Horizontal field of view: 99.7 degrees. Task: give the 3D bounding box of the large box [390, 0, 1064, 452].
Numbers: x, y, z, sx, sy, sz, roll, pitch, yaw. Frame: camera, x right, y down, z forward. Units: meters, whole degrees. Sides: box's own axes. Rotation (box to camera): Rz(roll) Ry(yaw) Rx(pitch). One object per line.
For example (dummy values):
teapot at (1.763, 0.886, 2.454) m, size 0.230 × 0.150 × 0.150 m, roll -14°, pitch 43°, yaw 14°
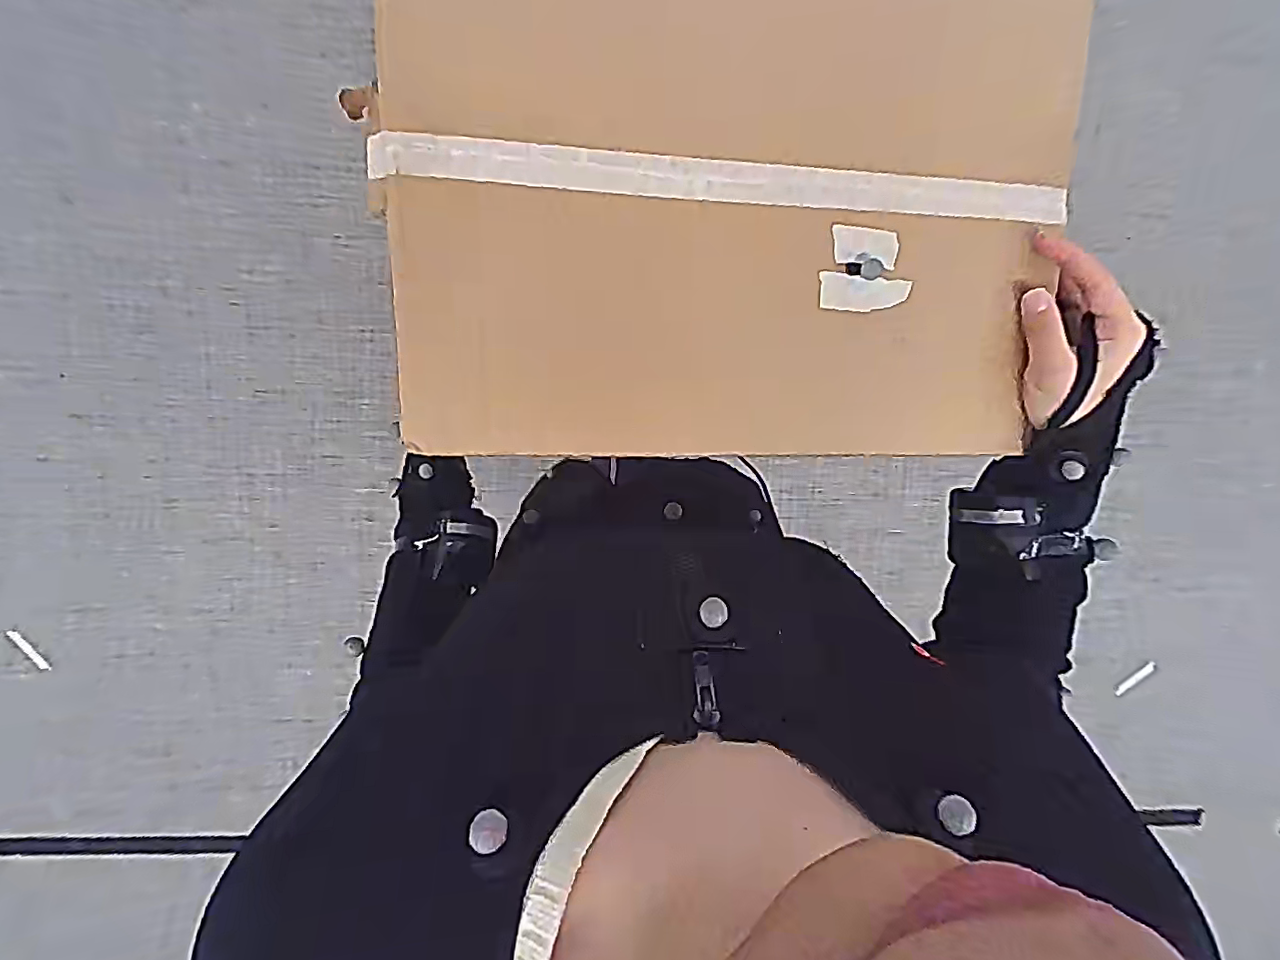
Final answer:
large box at (0.040, -0.199, 0.467) m, size 0.408 × 0.320 × 0.320 m, roll -1°, pitch 101°, yaw -10°
